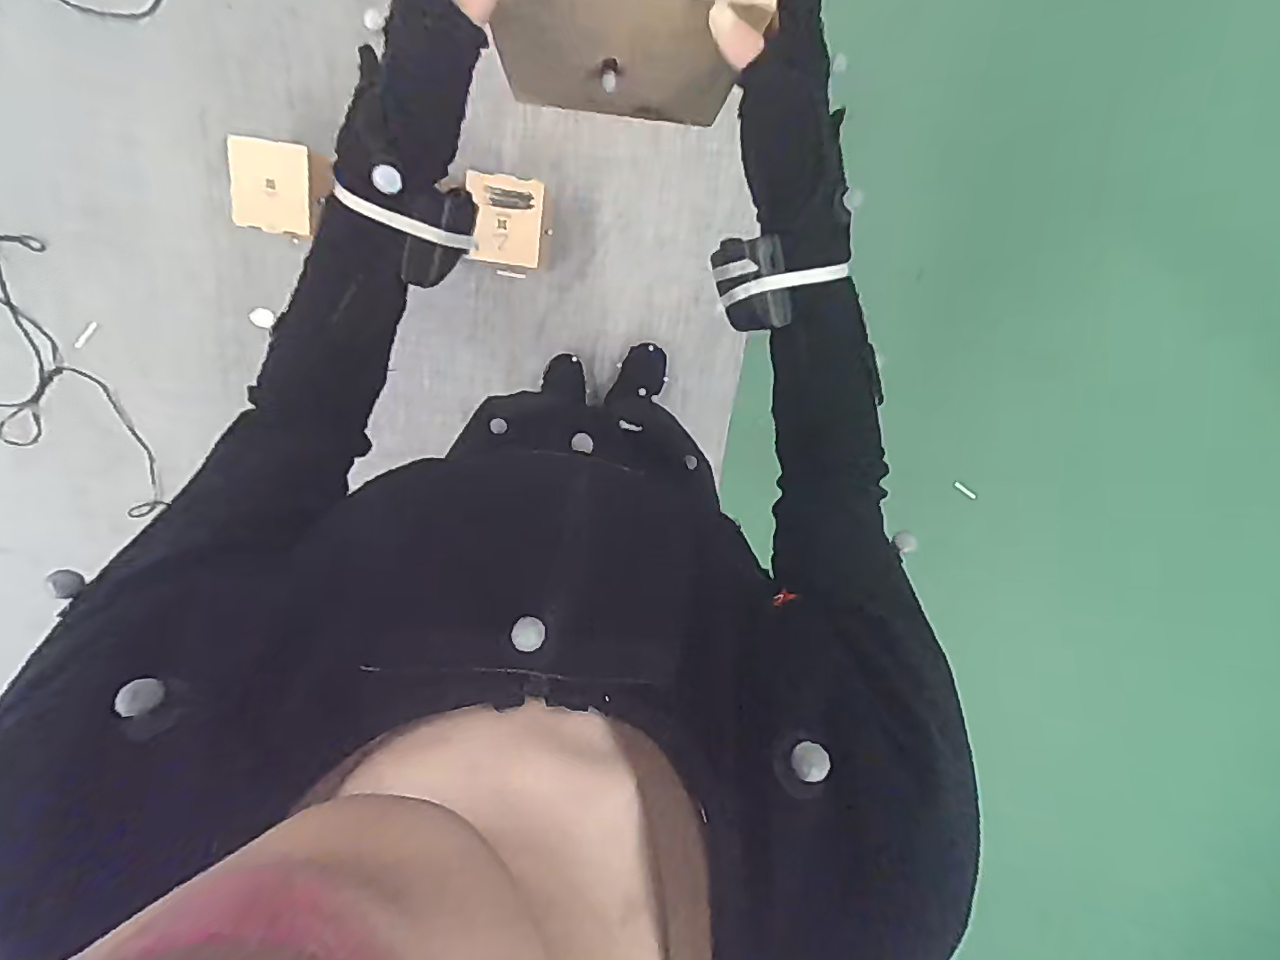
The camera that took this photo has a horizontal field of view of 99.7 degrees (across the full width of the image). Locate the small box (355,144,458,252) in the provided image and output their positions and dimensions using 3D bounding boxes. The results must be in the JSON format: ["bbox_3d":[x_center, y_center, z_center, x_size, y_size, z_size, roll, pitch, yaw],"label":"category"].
[{"bbox_3d":[-0.520,-0.624,1.220,0.168,0.176,0.179,7,105,-2],"label":"small box"}]

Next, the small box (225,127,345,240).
[{"bbox_3d":[-0.785,-0.654,1.212,0.168,0.176,0.179,8,106,-2],"label":"small box"}]
